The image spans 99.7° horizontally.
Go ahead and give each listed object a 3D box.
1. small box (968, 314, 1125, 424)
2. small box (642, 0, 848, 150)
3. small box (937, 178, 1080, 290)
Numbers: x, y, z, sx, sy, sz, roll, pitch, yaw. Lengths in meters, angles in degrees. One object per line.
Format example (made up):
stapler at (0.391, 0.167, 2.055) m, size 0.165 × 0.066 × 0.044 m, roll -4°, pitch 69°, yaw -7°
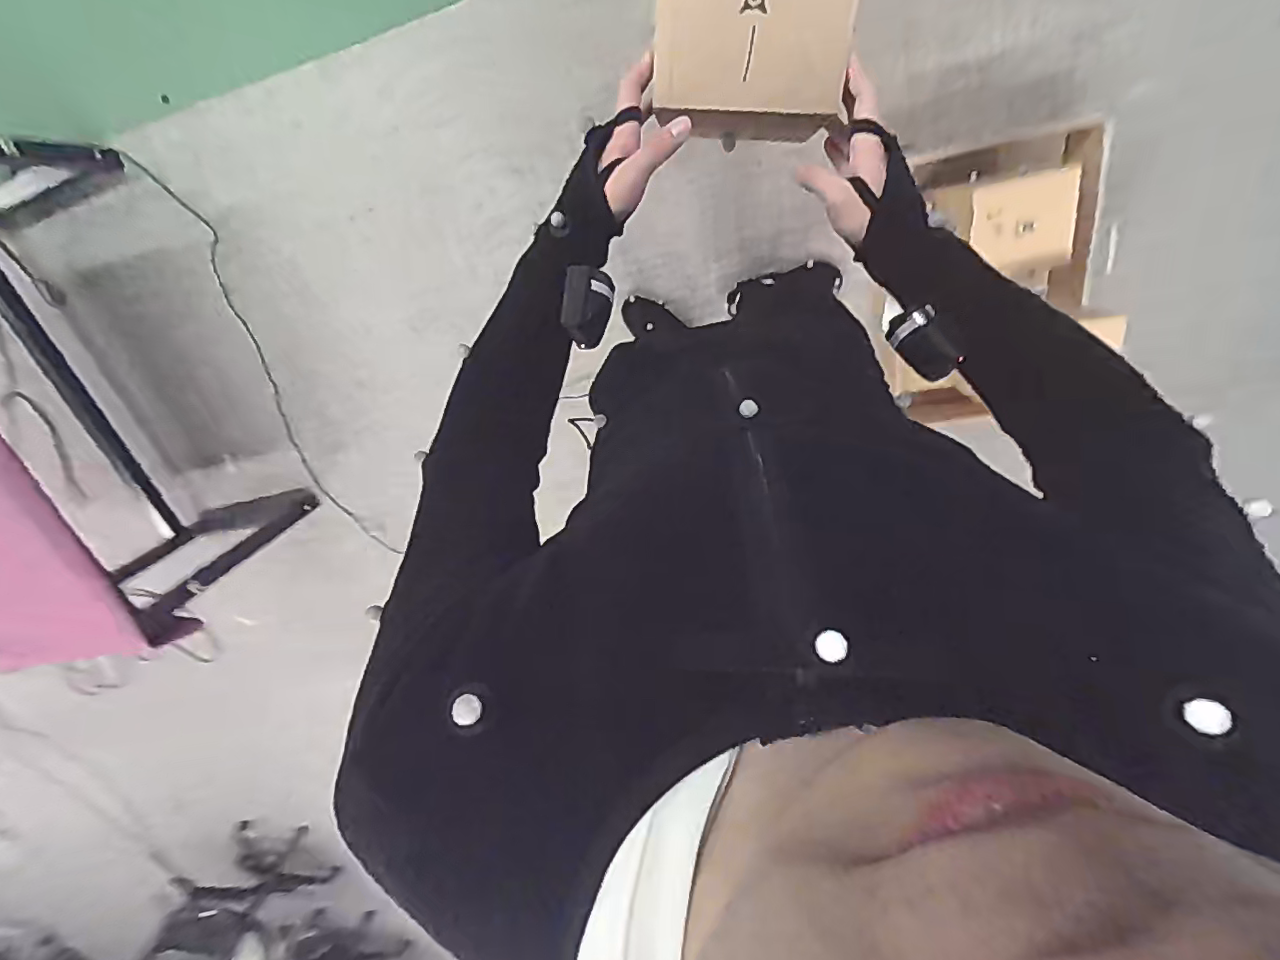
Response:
small box at (0.748, -0.213, 1.020) m, size 0.179 × 0.176 × 0.168 m, roll -4°, pitch 113°, yaw 11°
small box at (0.095, -0.430, 0.512) m, size 0.168 × 0.176 × 0.179 m, roll 5°, pitch 115°, yaw 5°
small box at (0.715, -0.487, 1.069) m, size 0.179 × 0.176 × 0.168 m, roll -7°, pitch 115°, yaw 12°
